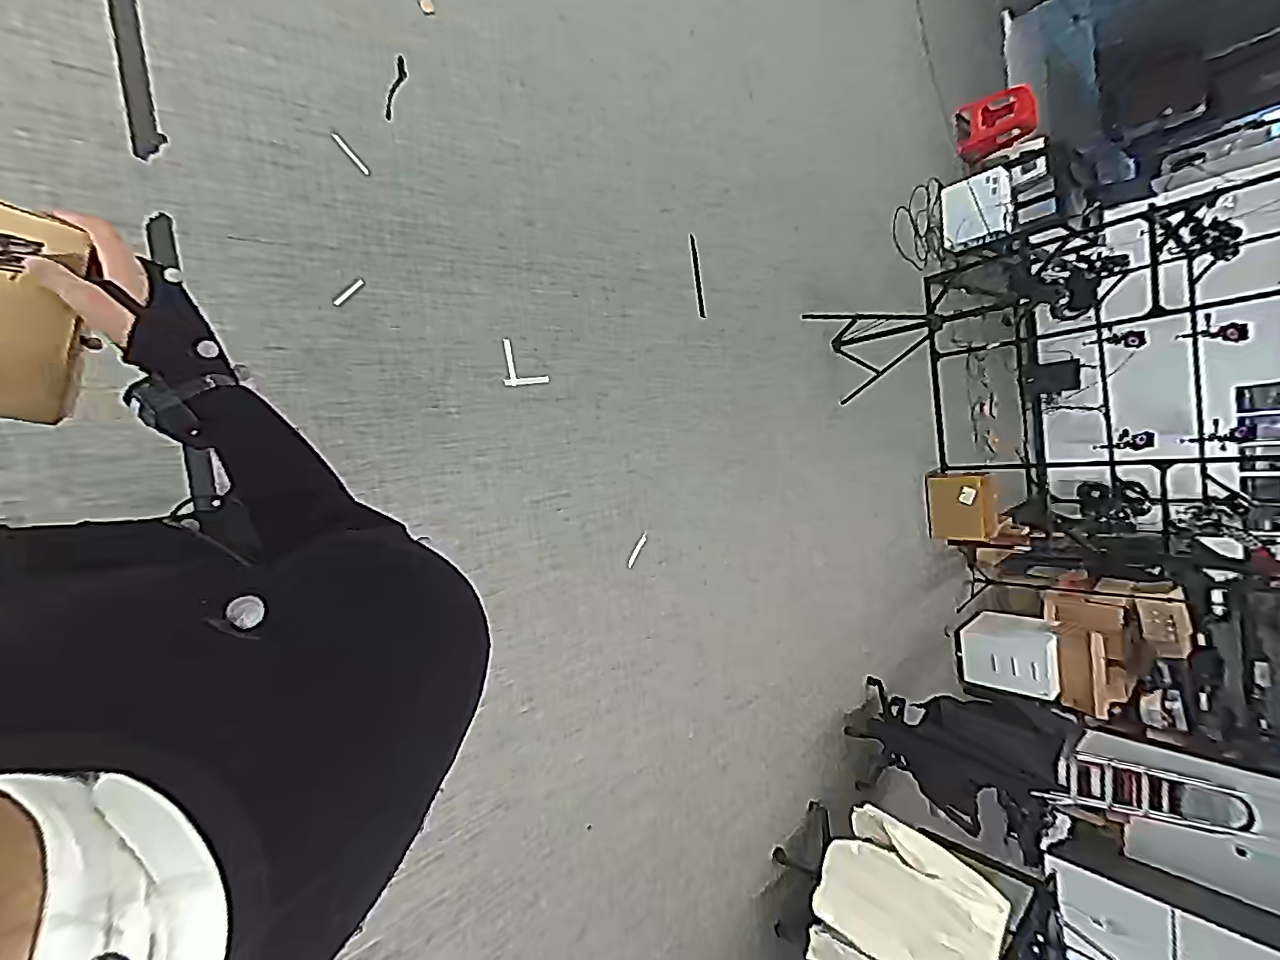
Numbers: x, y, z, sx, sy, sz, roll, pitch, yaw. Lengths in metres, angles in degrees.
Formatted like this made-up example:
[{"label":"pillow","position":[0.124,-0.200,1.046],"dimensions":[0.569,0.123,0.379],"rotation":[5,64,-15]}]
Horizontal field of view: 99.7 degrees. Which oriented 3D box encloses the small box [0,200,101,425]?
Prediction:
[{"label":"small box","position":[-0.605,-0.157,0.476],"dimensions":[0.168,0.176,0.179],"rotation":[11,93,-43]}]
